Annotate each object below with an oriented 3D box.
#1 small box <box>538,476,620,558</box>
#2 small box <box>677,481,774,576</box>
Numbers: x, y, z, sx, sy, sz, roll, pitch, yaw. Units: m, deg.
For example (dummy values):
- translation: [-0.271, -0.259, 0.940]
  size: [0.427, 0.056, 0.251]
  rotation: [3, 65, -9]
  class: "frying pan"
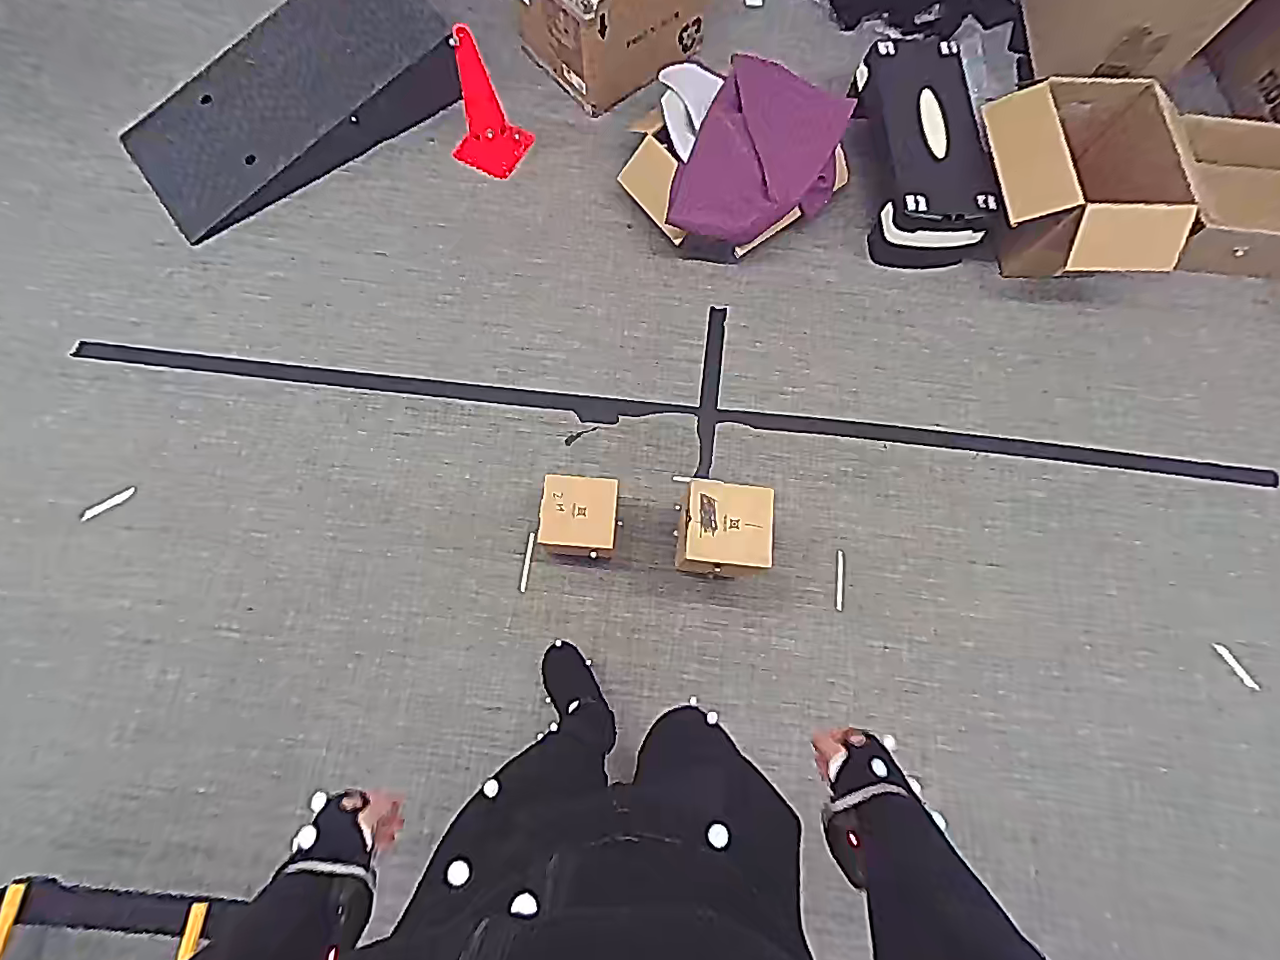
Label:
- translation: [-0.142, 0.097, 1.324]
  size: [0.179, 0.176, 0.168]
  rotation: [5, 74, 0]
  class: "small box"
- translation: [0.177, 0.111, 1.161]
  size: [0.179, 0.176, 0.168]
  rotation: [6, 75, -1]
  class: "small box"
